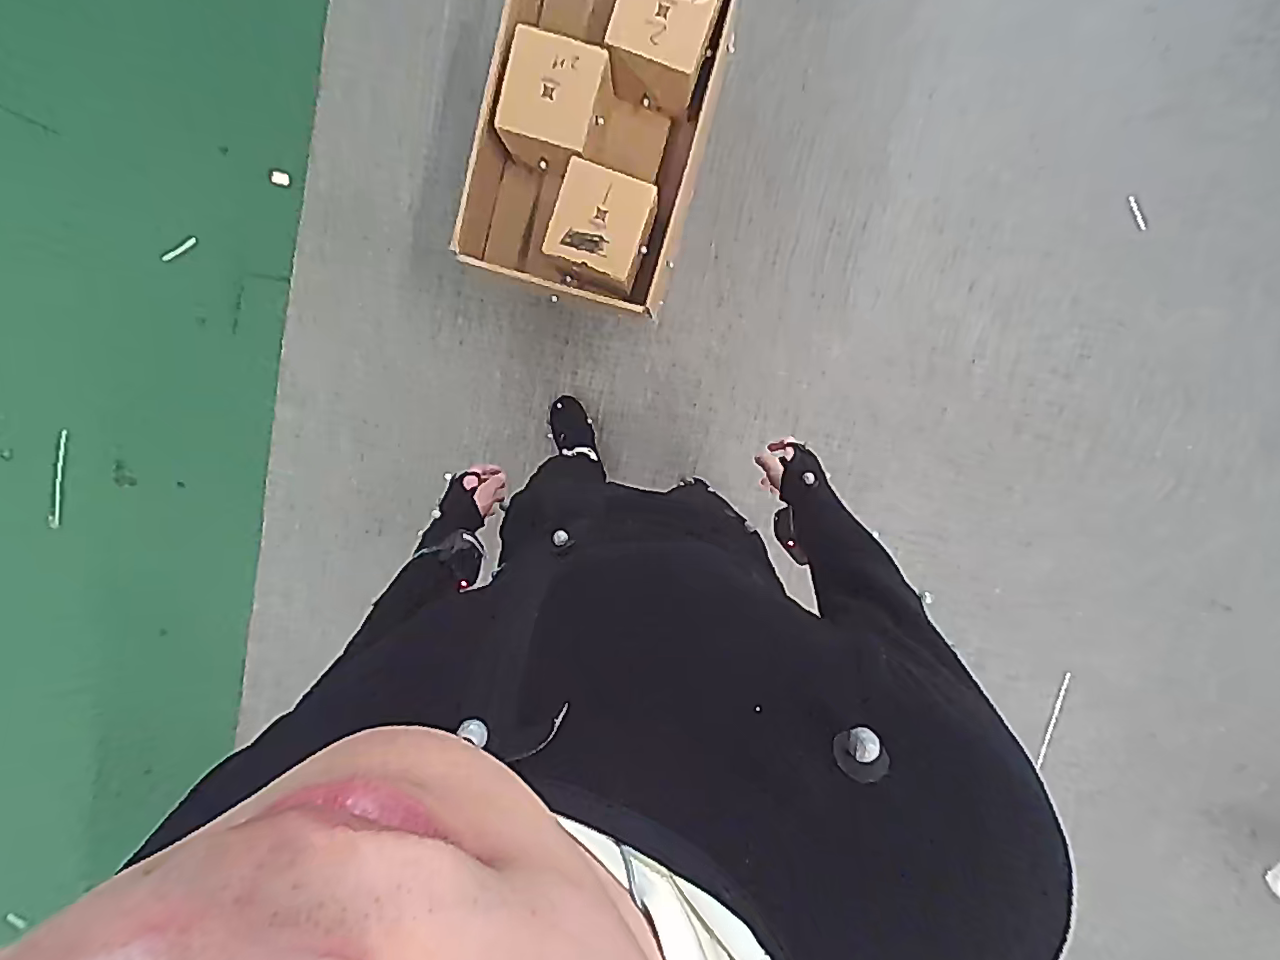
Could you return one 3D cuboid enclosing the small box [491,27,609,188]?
[{"bbox_3d":[-0.161,-0.688,1.023,0.168,0.176,0.179,17,98,-2],"label":"small box"}]
